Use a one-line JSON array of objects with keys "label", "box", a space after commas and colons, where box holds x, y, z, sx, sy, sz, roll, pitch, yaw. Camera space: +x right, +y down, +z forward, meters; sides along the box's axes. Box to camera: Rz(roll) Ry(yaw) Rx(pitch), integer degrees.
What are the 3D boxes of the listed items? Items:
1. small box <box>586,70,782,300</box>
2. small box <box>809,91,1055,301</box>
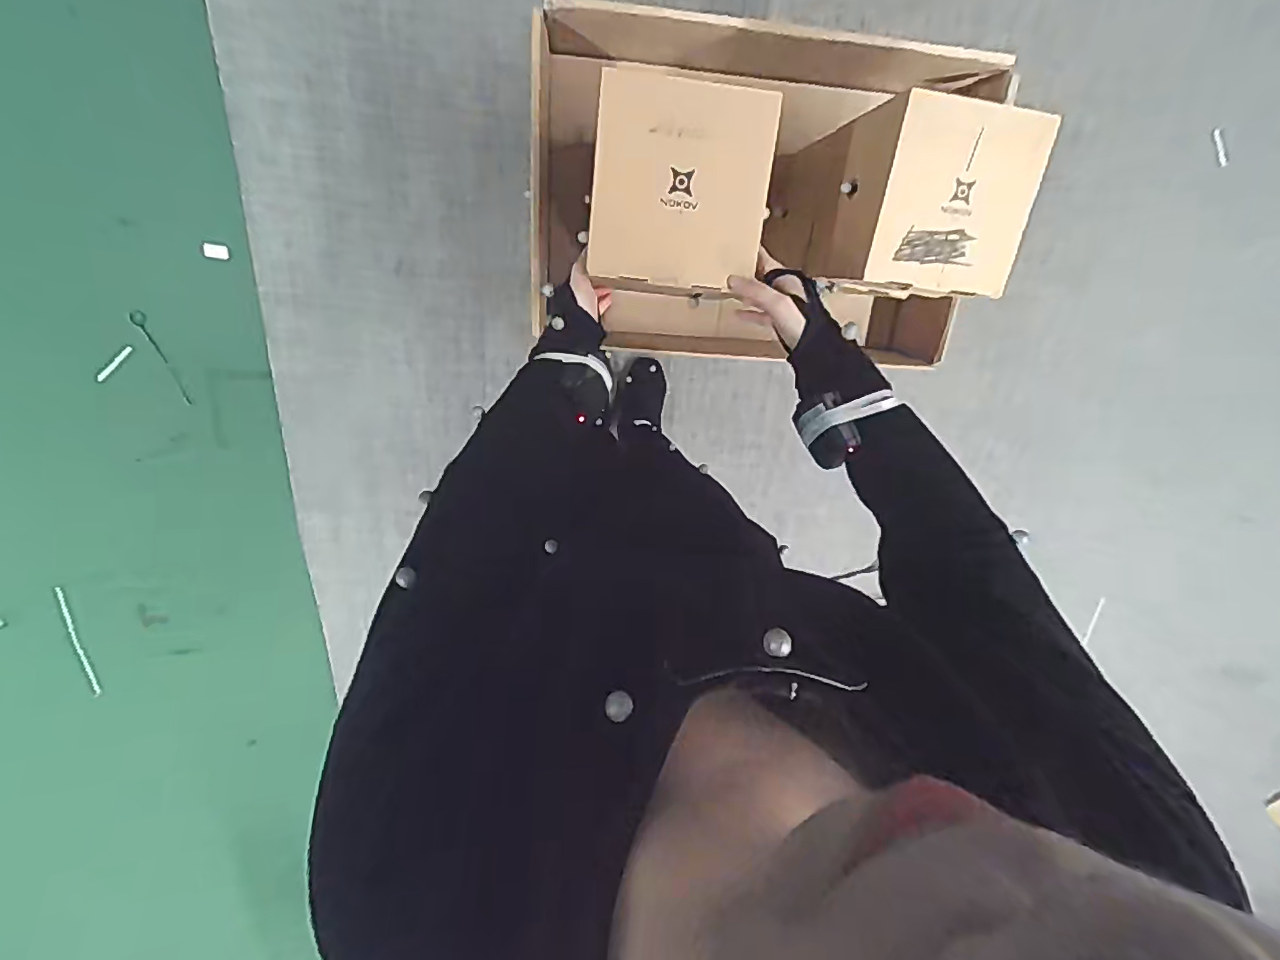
[{"label": "small box", "box": [0.036, -0.296, 0.586, 0.168, 0.176, 0.179, 6, 106, -4]}, {"label": "small box", "box": [0.317, -0.315, 0.632, 0.168, 0.176, 0.179, 5, 110, -8]}]
